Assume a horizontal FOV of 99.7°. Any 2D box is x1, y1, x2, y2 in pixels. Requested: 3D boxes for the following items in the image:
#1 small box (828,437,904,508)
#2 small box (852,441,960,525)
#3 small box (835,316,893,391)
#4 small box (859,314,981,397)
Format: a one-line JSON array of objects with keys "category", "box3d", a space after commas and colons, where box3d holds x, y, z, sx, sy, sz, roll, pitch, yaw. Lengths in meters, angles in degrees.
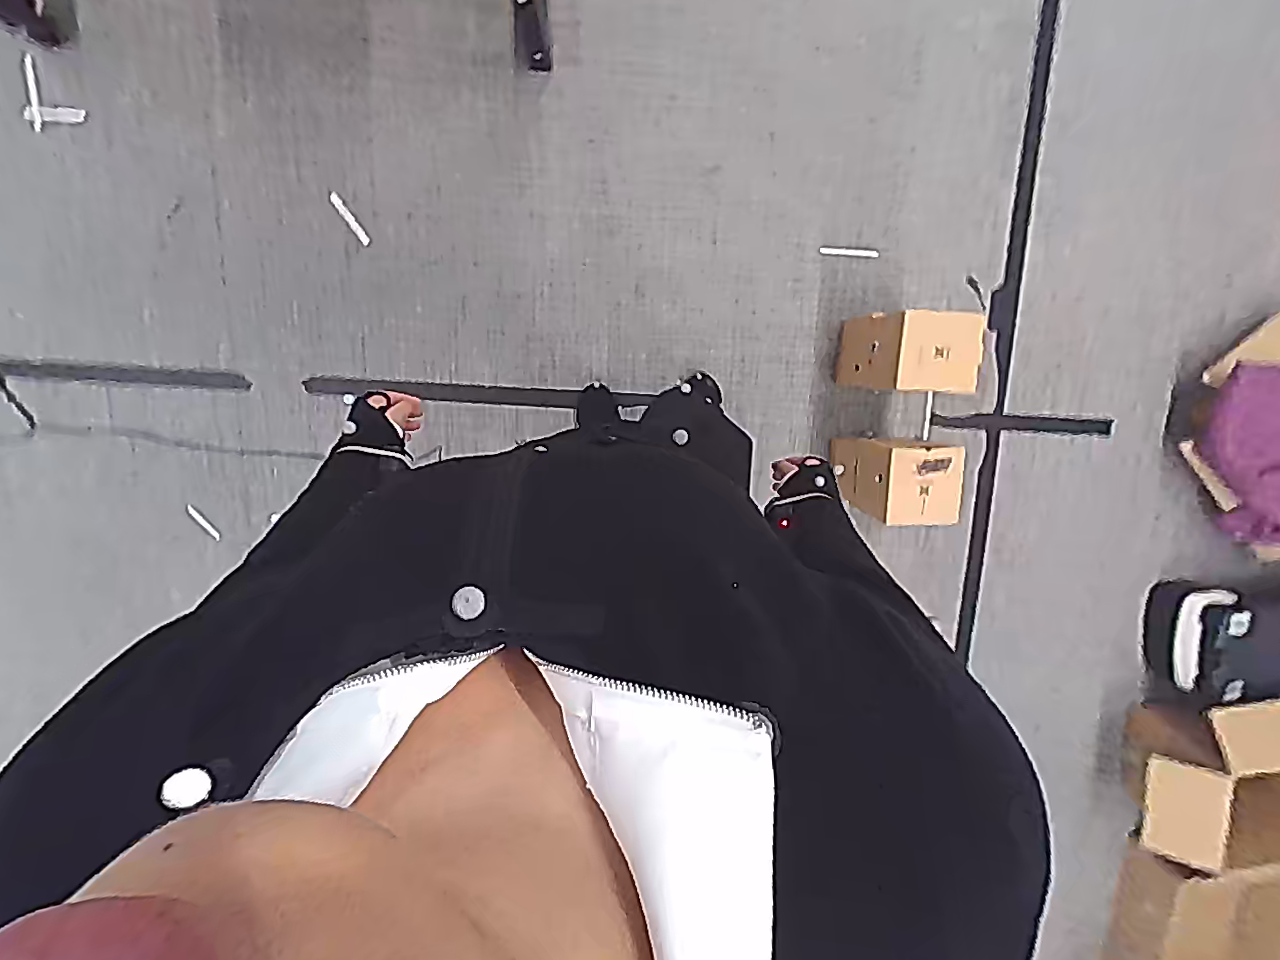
[{"category": "small box", "box3d": [0.615, -0.022, 1.442, 0.179, 0.176, 0.168, 0, 101, -1]}, {"category": "small box", "box3d": [0.618, 0.002, 1.278, 0.168, 0.176, 0.179, 0, 101, -2]}, {"category": "small box", "box3d": [0.615, -0.315, 1.384, 0.168, 0.176, 0.179, 4, 100, -3]}, {"category": "small box", "box3d": [0.626, -0.278, 1.226, 0.179, 0.176, 0.168, 2, 99, -1]}]
